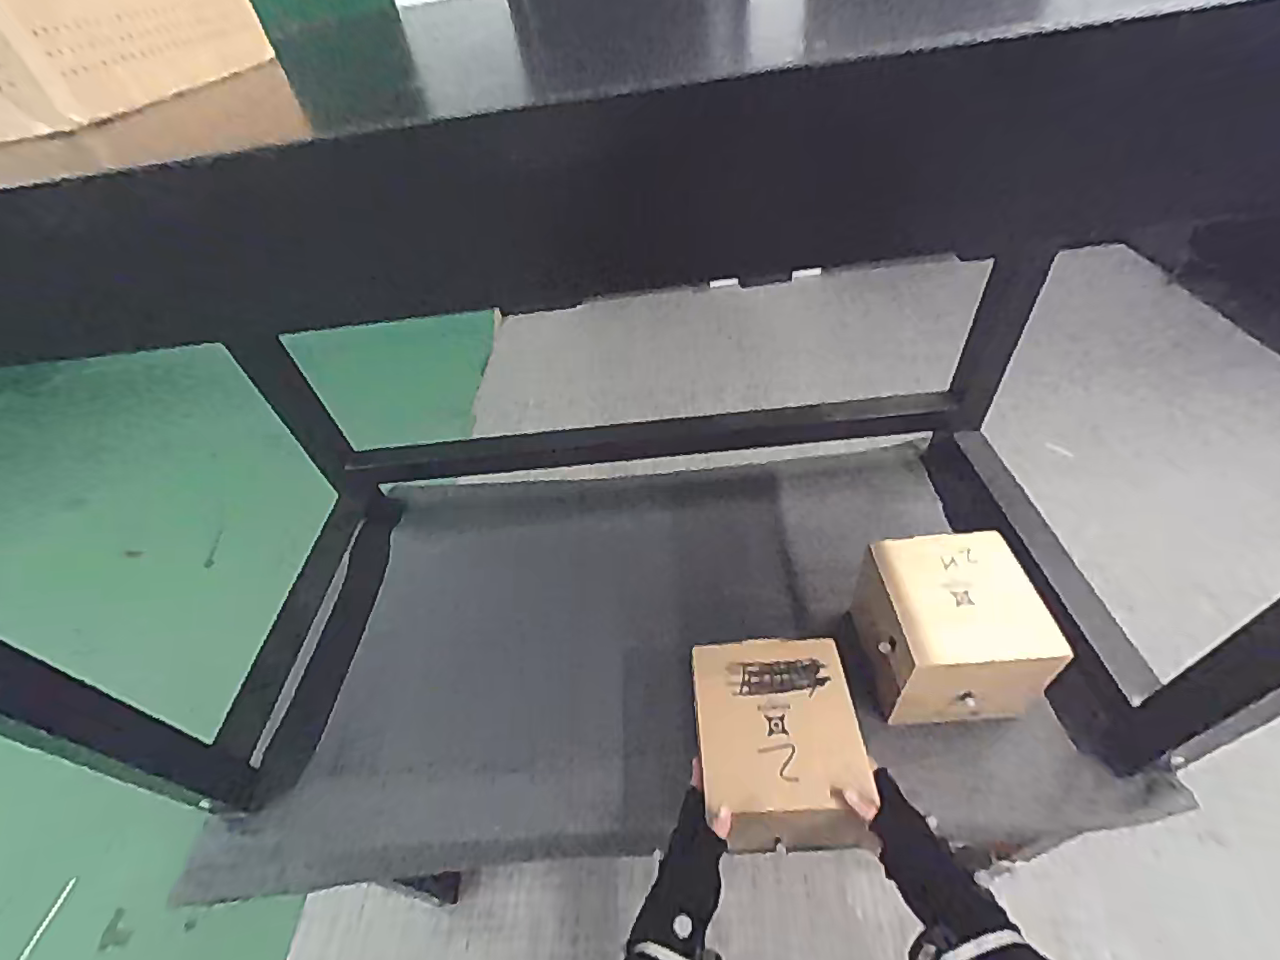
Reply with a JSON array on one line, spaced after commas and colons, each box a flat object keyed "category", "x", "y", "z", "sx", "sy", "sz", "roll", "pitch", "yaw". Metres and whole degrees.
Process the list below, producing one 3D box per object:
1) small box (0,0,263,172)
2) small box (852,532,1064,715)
[{"category": "small box", "x": -0.312, "y": -0.239, "z": 0.227, "sx": 0.168, "sy": 0.176, "sz": 0.179, "roll": -5, "pitch": 45, "yaw": 5}, {"category": "small box", "x": 0.390, "y": 0.192, "z": 0.705, "sx": 0.168, "sy": 0.176, "sz": 0.179, "roll": -6, "pitch": 44, "yaw": 5}]
